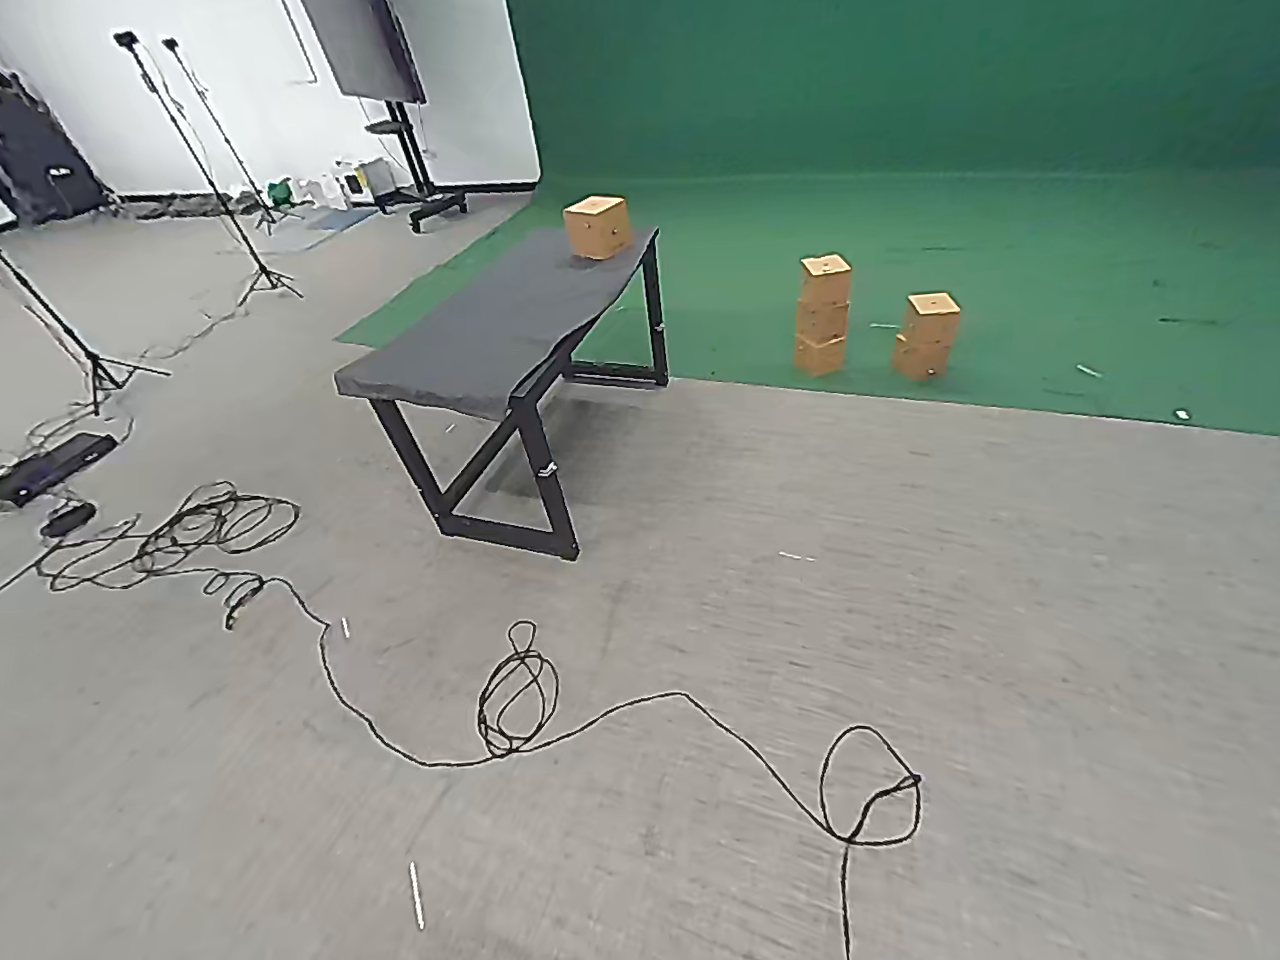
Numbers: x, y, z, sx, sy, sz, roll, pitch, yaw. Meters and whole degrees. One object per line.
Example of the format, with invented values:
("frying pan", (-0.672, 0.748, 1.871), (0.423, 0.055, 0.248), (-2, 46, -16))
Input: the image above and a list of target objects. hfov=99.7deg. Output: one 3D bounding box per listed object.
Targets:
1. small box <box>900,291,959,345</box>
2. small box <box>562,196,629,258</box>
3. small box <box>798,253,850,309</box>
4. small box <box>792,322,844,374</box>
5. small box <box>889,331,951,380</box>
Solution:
("small box", (1.264, -0.705, 2.373), (0.168, 0.176, 0.179), (-3, 43, 5))
("small box", (-0.163, -0.959, 2.055), (0.179, 0.176, 0.168), (24, 52, 34))
("small box", (0.811, -0.881, 2.398), (0.168, 0.176, 0.179), (-9, 43, 1))
("small box", (0.853, -0.630, 2.607), (0.168, 0.176, 0.179), (-22, 44, -13))
("small box", (1.277, -0.583, 2.479), (0.168, 0.176, 0.179), (-18, 44, -9))
